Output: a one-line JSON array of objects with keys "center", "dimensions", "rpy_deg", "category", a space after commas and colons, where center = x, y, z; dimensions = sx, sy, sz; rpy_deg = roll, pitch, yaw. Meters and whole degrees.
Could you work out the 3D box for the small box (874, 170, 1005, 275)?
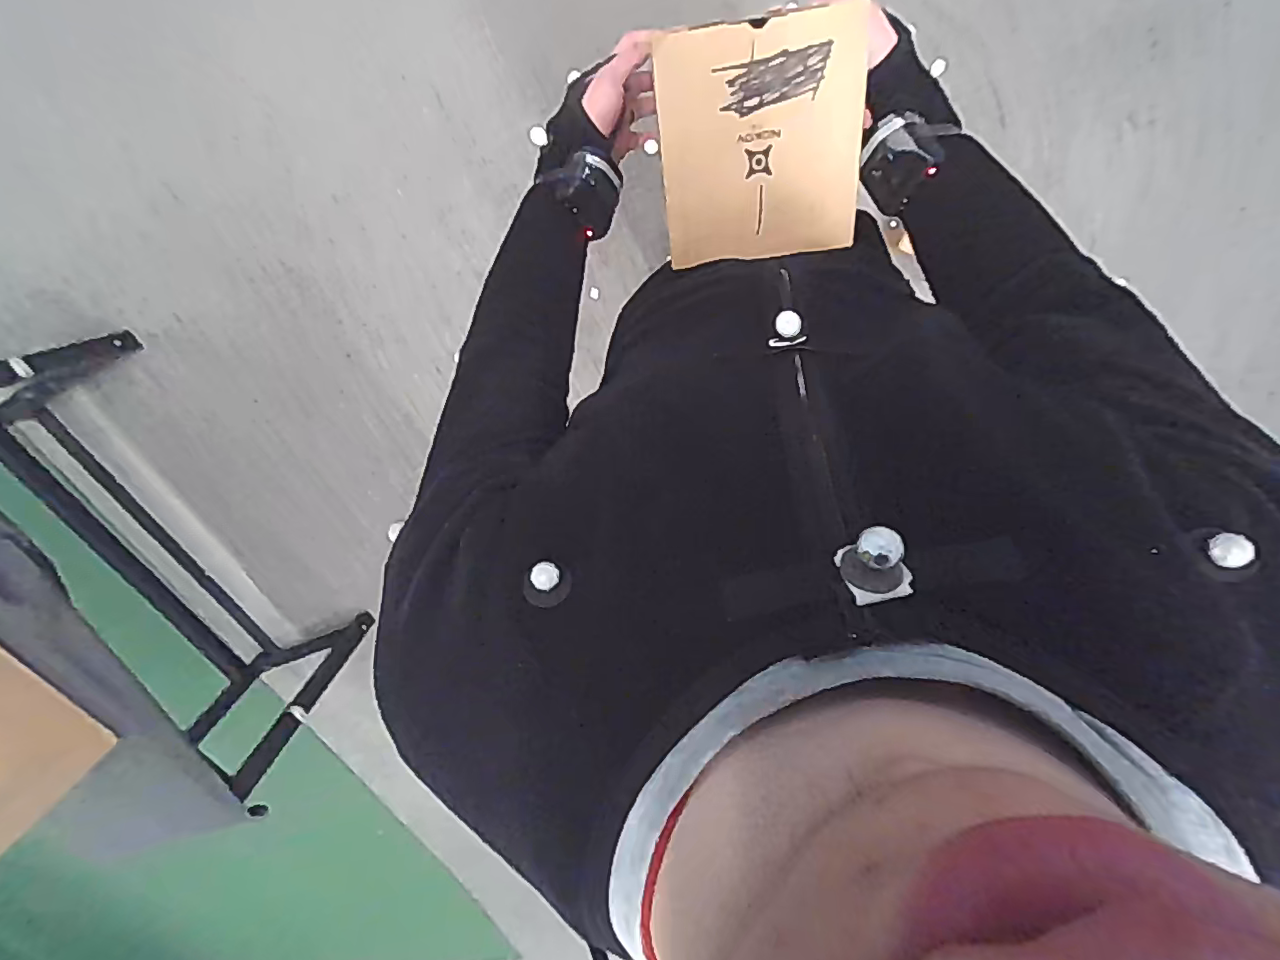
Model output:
[{"center": [0.673, -0.591, 1.245], "dimensions": [0.179, 0.176, 0.168], "rpy_deg": [18, 117, -6], "category": "small box"}]
